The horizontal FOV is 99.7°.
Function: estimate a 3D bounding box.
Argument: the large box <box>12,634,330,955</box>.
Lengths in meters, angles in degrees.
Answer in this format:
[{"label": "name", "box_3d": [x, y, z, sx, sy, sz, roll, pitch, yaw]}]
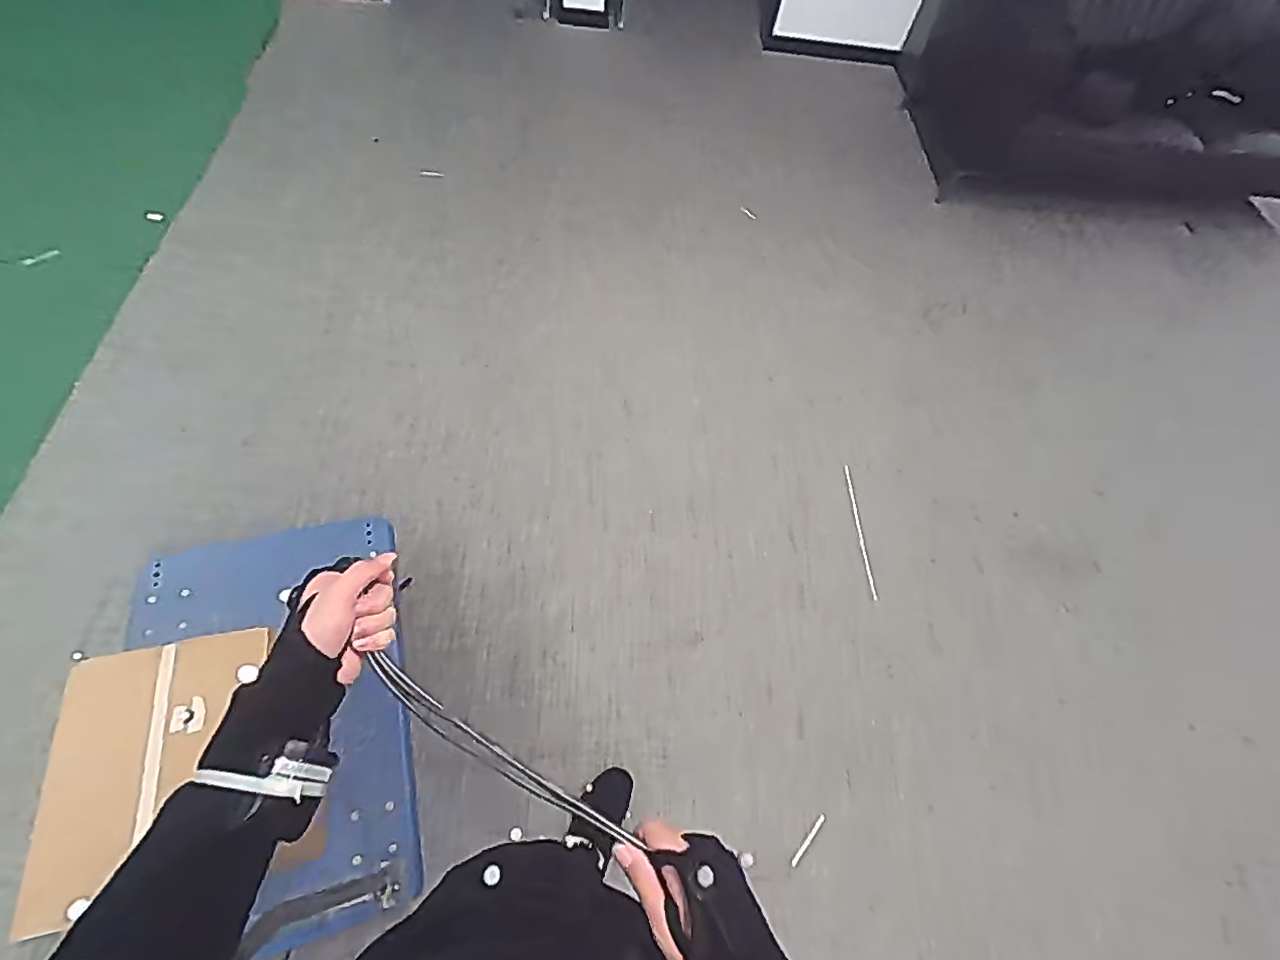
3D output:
[{"label": "large box", "box_3d": [-0.801, 0.547, 1.005, 0.320, 0.320, 0.408, -8, 63, -12]}]
